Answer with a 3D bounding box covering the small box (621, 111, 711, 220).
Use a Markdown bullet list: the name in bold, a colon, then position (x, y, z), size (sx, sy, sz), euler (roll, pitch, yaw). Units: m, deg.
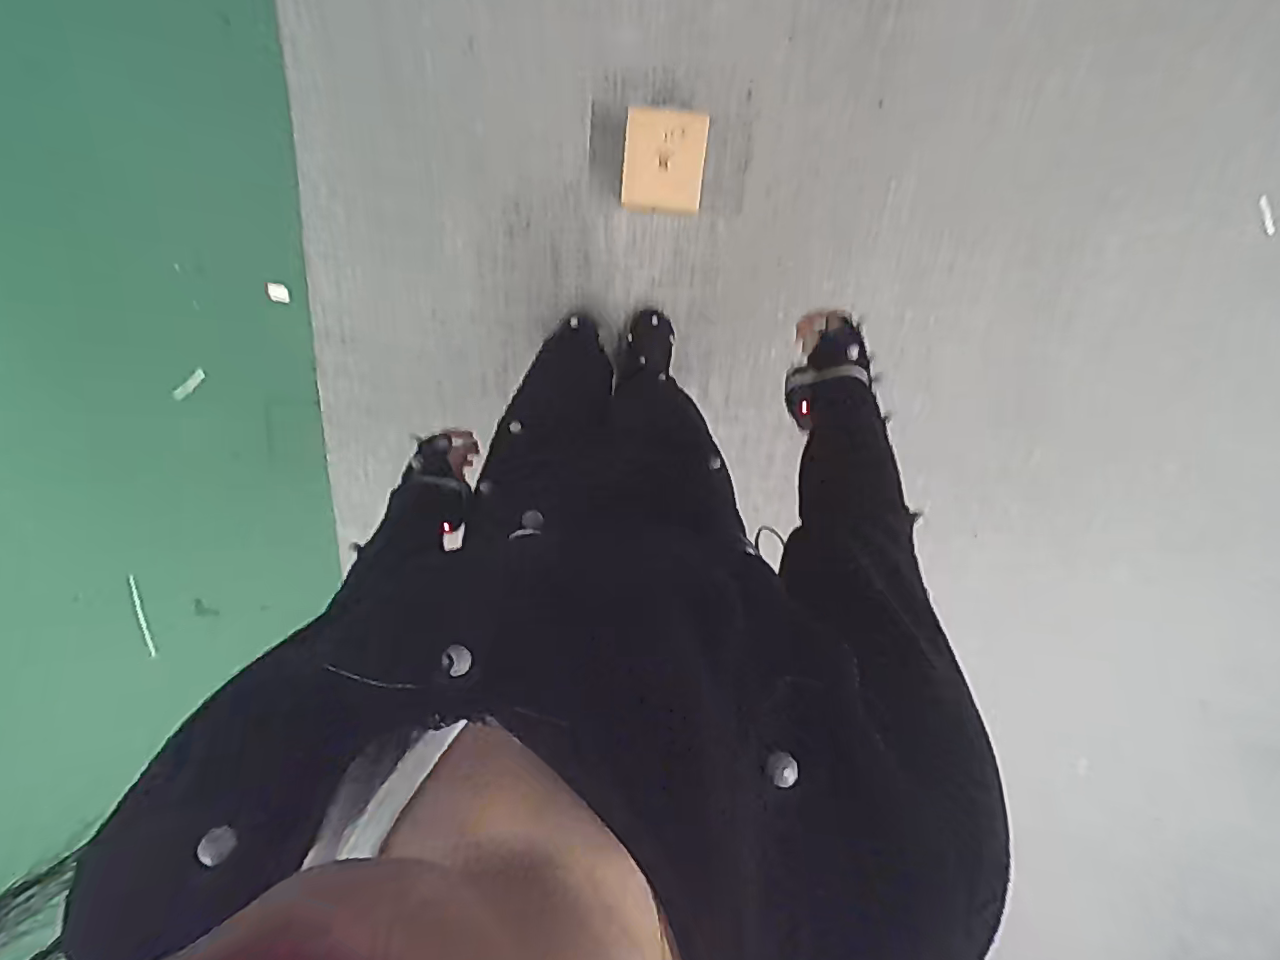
- **small box**: position (0.053, -0.673, 1.177), size (0.168, 0.176, 0.179), euler (6, 112, -2)
